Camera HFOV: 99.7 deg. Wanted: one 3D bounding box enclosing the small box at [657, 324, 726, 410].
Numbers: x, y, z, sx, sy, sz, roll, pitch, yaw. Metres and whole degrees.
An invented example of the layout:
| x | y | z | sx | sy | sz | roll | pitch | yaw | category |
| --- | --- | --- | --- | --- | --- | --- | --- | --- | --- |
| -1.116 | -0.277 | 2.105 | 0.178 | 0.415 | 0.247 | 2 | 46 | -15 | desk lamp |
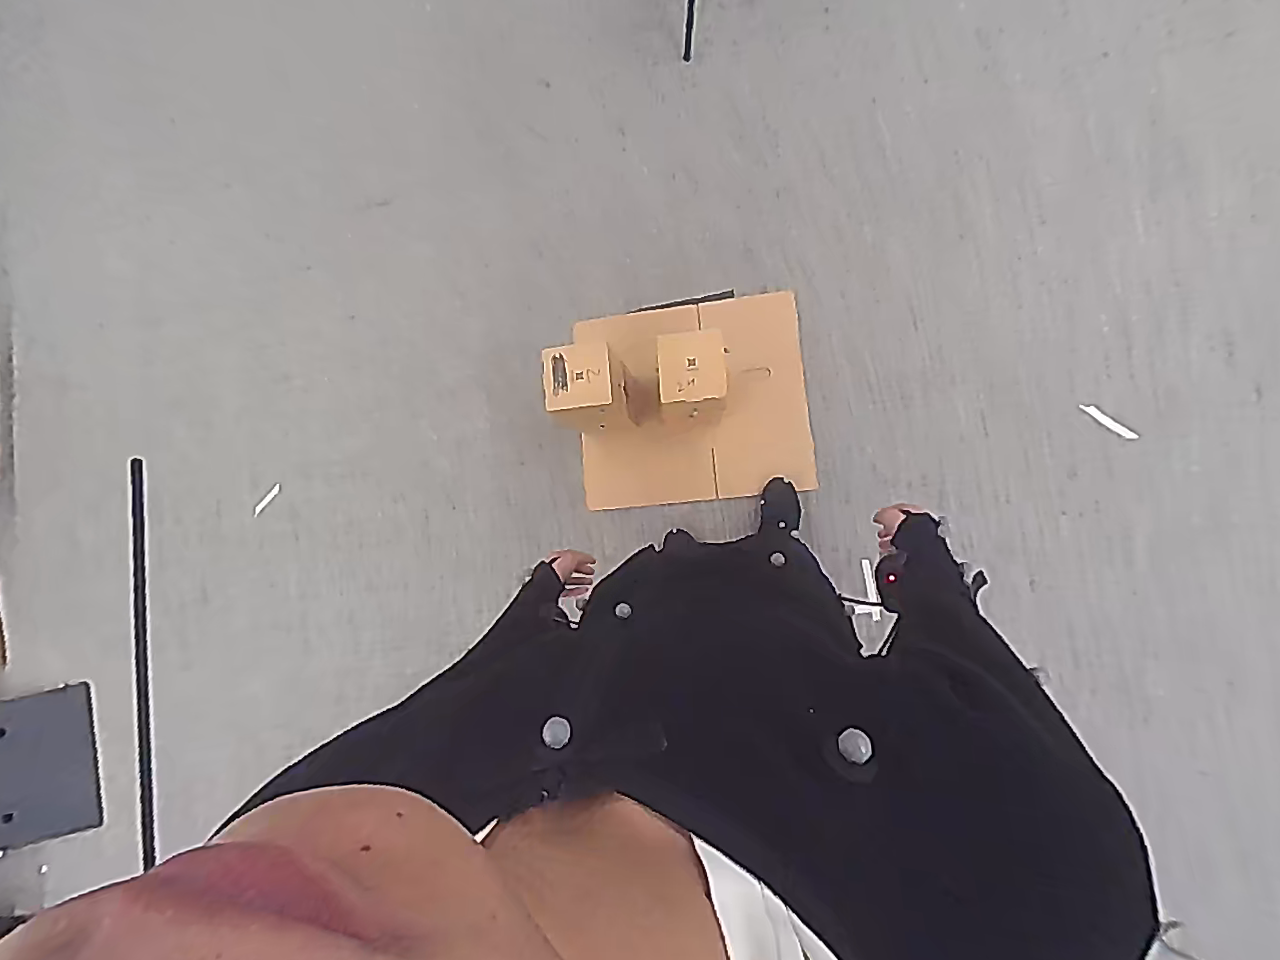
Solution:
| x | y | z | sx | sy | sz | roll | pitch | yaw | category |
| --- | --- | --- | --- | --- | --- | --- | --- | --- | --- |
| 0.135 | -0.289 | 1.411 | 0.168 | 0.176 | 0.179 | -4 | 86 | 8 | small box |

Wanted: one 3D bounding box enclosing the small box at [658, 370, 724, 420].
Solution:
| x | y | z | sx | sy | sz | roll | pitch | yaw | category |
| --- | --- | --- | --- | --- | --- | --- | --- | --- | --- |
| 0.149 | -0.274 | 1.575 | 0.179 | 0.176 | 0.168 | -4 | 86 | 8 | small box |

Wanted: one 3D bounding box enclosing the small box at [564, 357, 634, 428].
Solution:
| x | y | z | sx | sy | sz | roll | pitch | yaw | category |
| --- | --- | --- | --- | --- | --- | --- | --- | --- | --- |
| -0.115 | -0.256 | 1.609 | 0.179 | 0.176 | 0.168 | -6 | 85 | 9 | small box |
